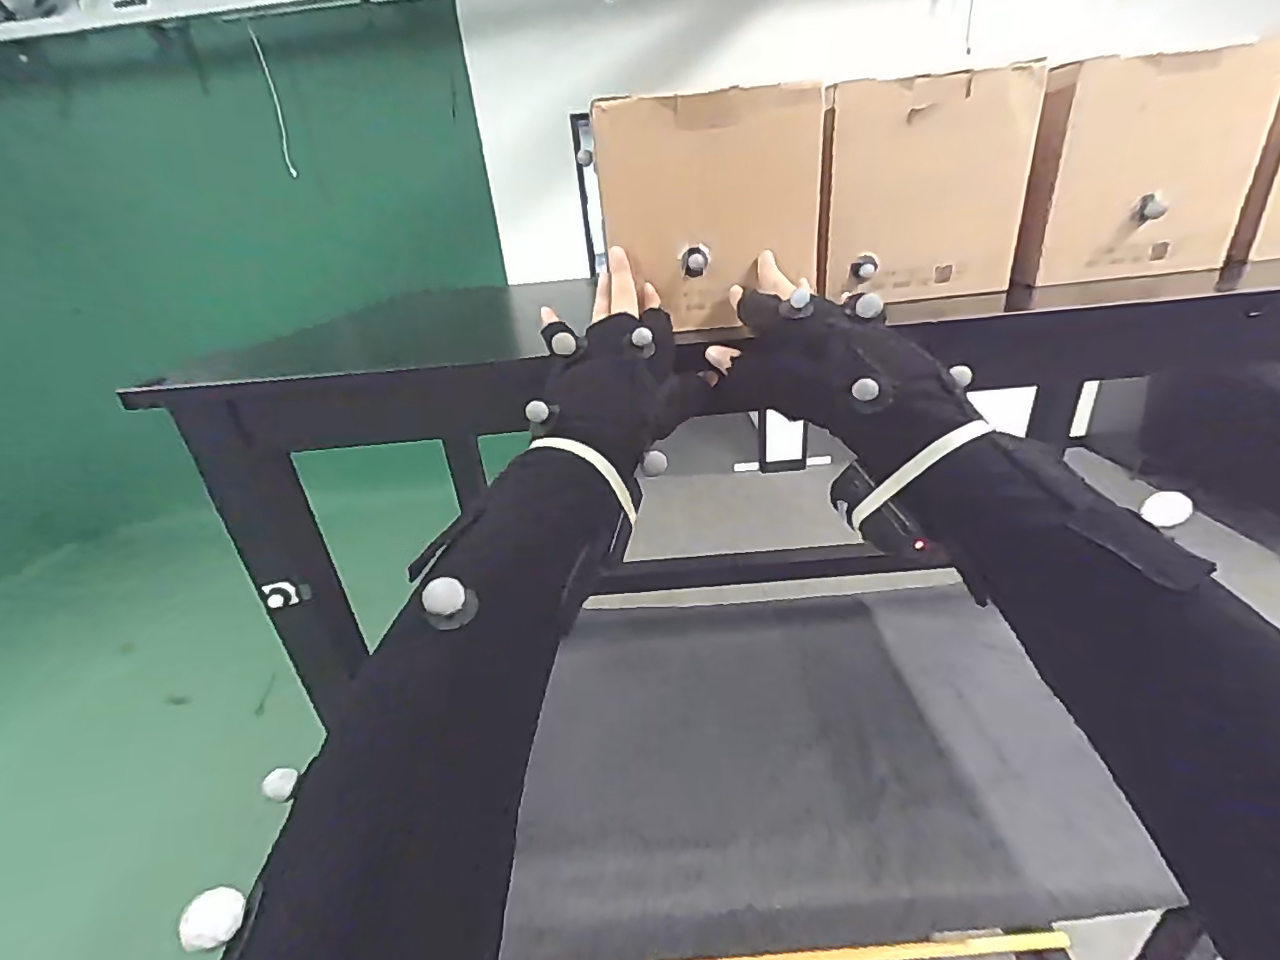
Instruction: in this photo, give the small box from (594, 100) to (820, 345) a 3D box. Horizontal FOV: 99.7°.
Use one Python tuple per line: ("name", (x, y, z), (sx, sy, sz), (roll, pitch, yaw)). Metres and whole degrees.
("small box", (0.051, -0.226, 0.494), (0.168, 0.176, 0.179), (-5, 26, 0))
